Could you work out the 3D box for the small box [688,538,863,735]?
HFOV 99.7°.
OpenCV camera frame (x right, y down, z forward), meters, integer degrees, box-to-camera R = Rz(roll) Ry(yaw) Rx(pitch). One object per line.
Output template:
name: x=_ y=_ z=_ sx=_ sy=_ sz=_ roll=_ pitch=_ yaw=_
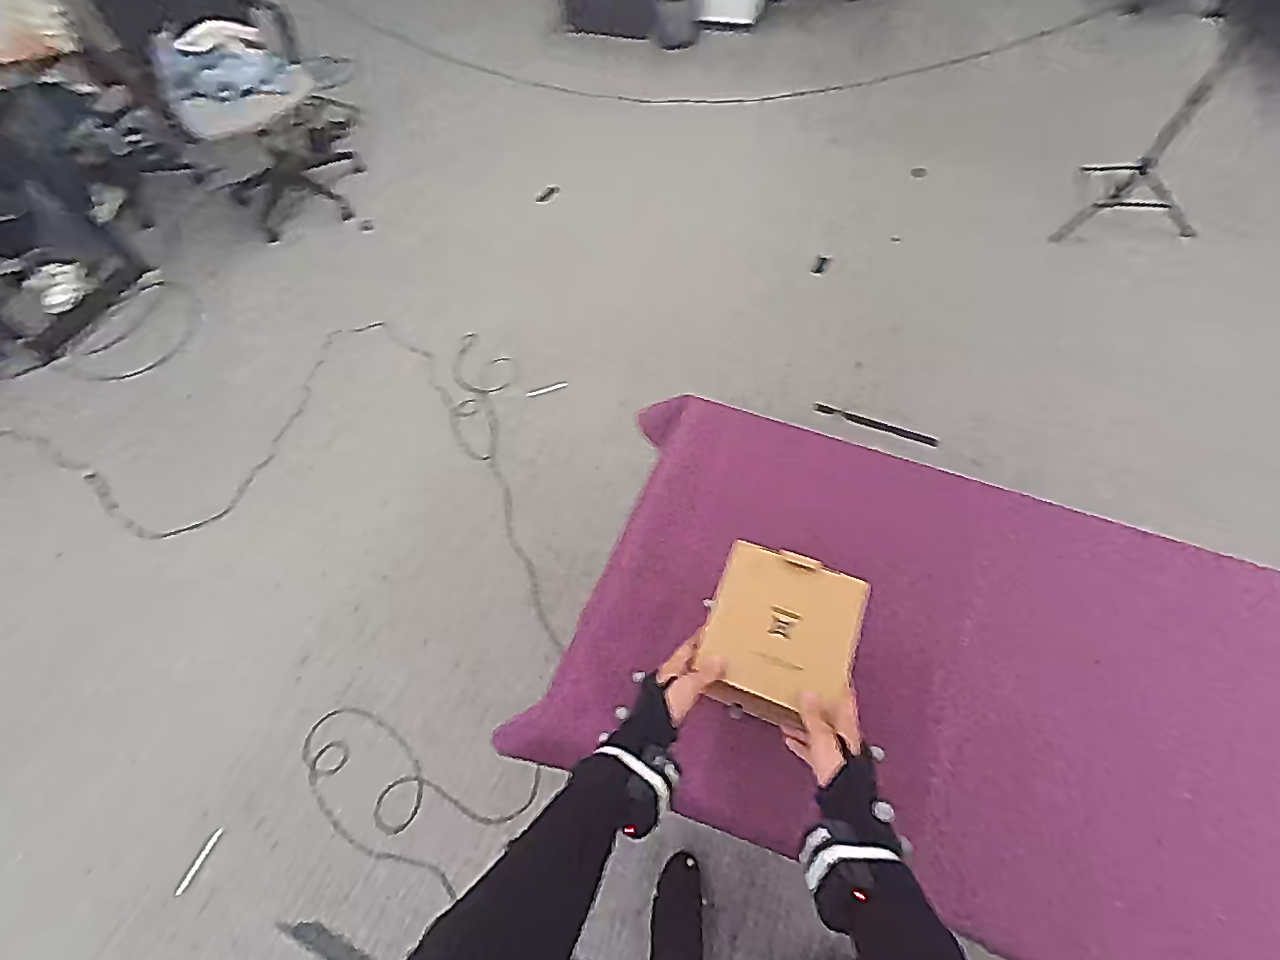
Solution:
small box: x=0.165 y=0.206 z=0.696 sx=0.168 sy=0.176 sz=0.179 roll=18 pitch=64 yaw=15
